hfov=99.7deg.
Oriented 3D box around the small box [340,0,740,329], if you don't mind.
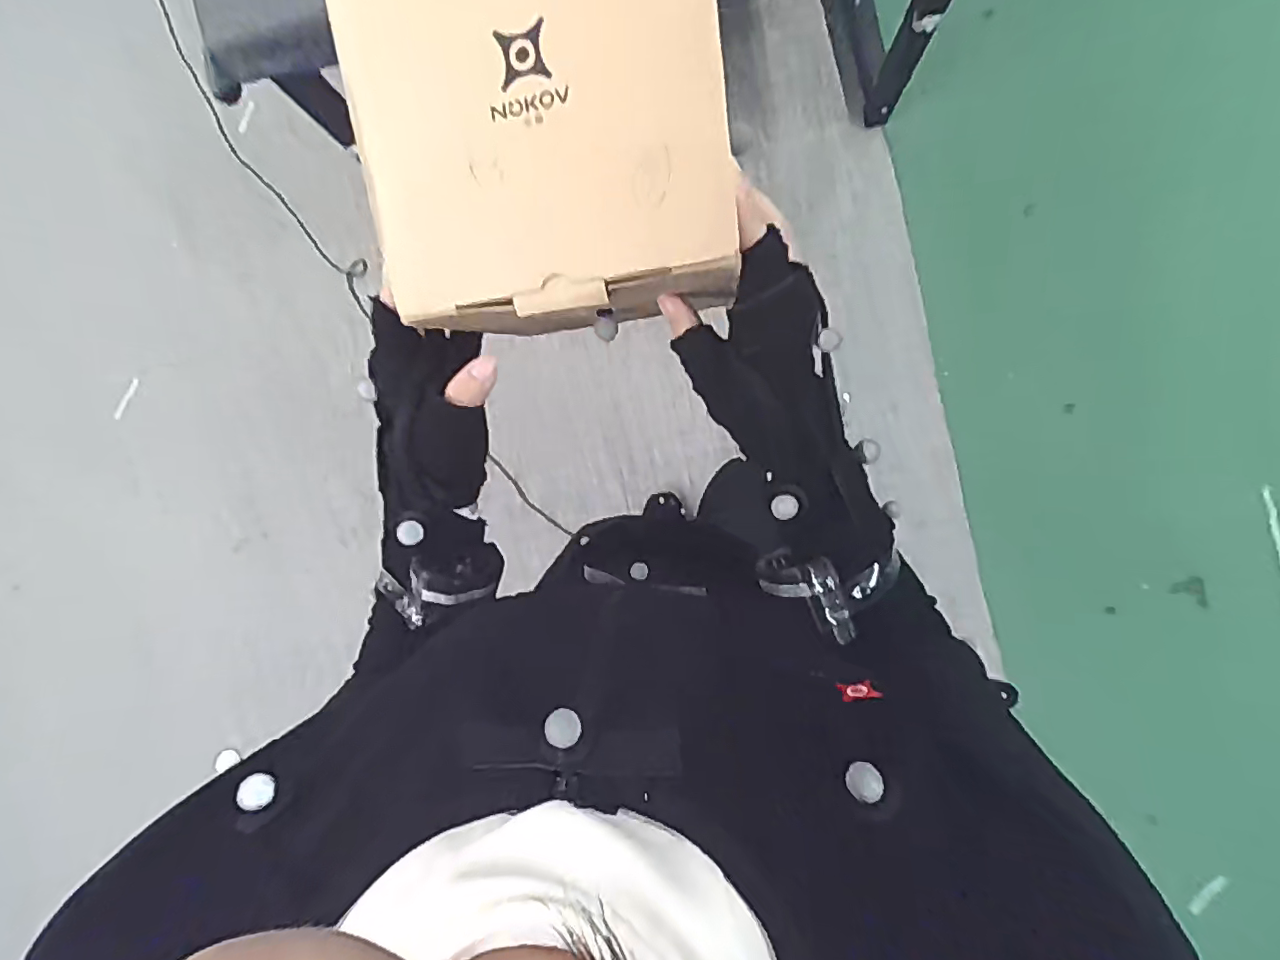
[{"bbox_3d":[-0.032,-0.187,0.315,0.168,0.176,0.179,-6,102,13],"label":"small box"}]
